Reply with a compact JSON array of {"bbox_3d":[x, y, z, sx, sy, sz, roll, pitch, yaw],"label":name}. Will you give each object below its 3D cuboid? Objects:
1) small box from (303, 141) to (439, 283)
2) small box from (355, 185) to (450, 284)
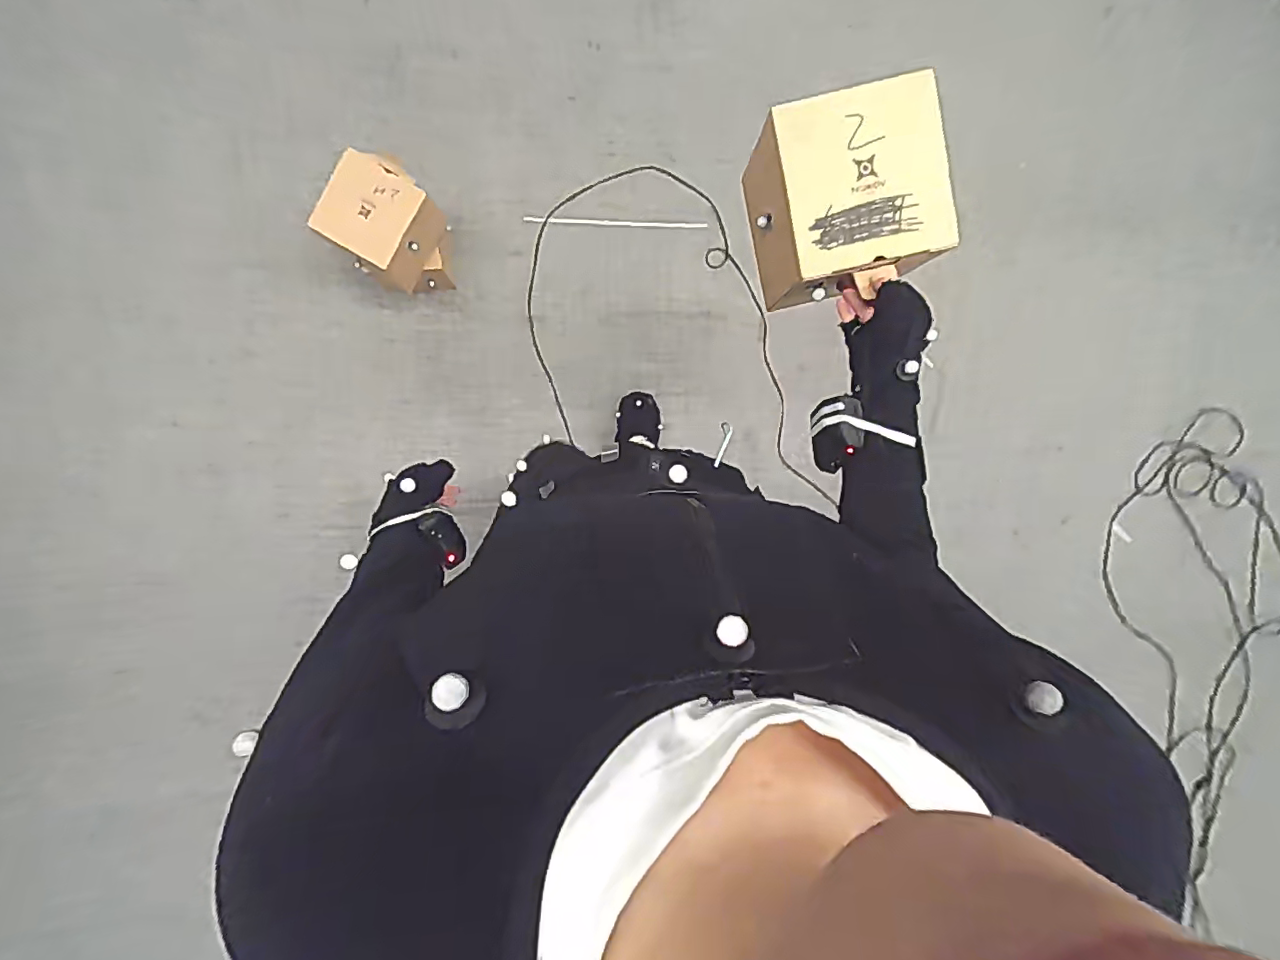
[{"bbox_3d":[-0.541,-0.538,1.117,0.168,0.176,0.179,29,90,-9],"label":"small box"},{"bbox_3d":[-0.552,-0.566,1.263,0.179,0.176,0.168,-6,95,-6],"label":"small box"}]
